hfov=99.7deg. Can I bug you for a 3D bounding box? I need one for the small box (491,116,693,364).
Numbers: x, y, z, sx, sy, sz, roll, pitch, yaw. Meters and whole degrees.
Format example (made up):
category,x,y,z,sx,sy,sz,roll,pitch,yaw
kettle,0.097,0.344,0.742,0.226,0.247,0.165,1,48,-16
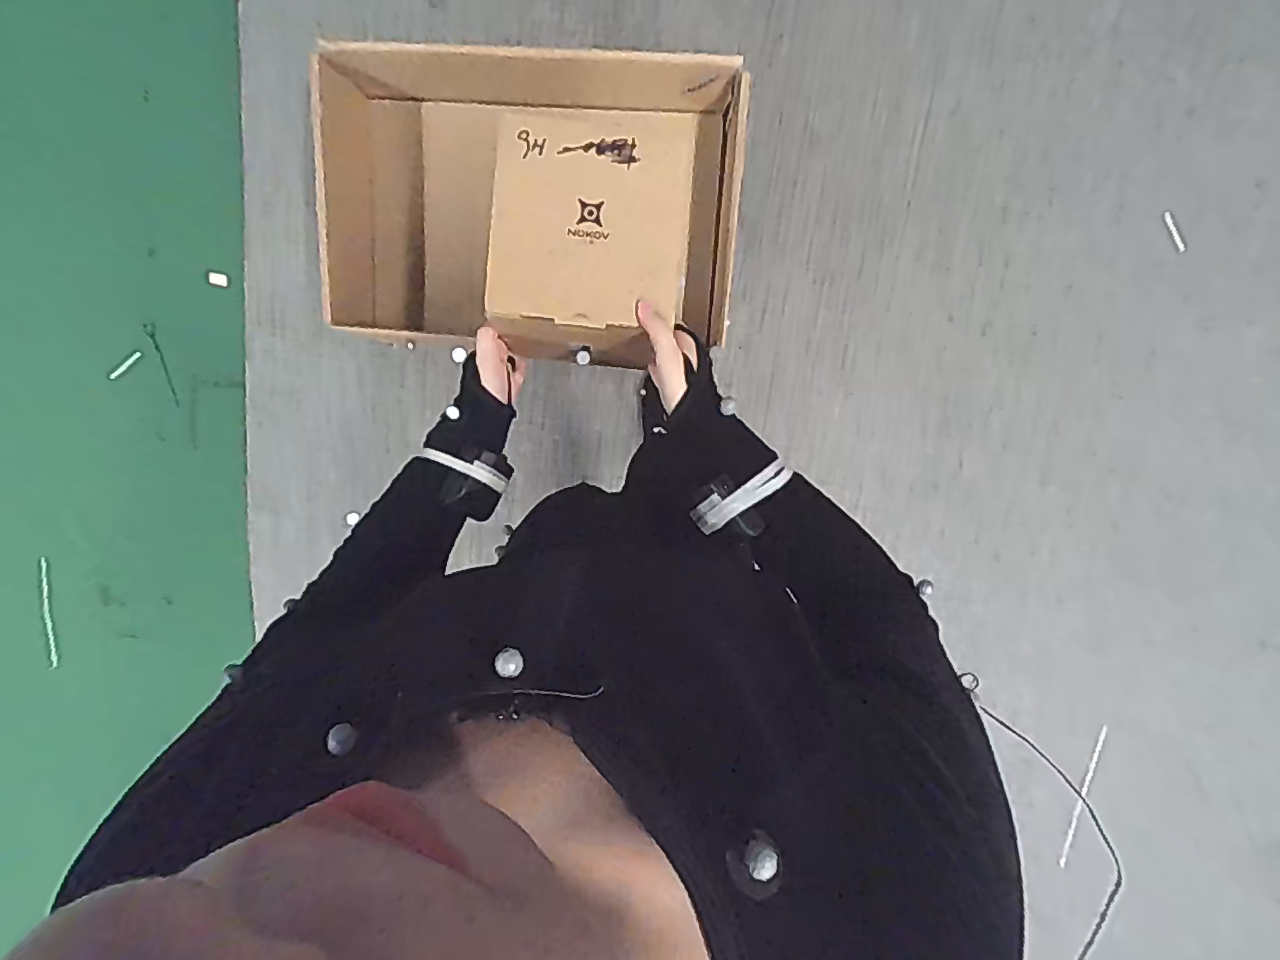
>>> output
category,x,y,z,sx,sy,sz,roll,pitch,yaw
small box,-0.046,-0.225,0.555,0.168,0.176,0.179,5,90,-4
